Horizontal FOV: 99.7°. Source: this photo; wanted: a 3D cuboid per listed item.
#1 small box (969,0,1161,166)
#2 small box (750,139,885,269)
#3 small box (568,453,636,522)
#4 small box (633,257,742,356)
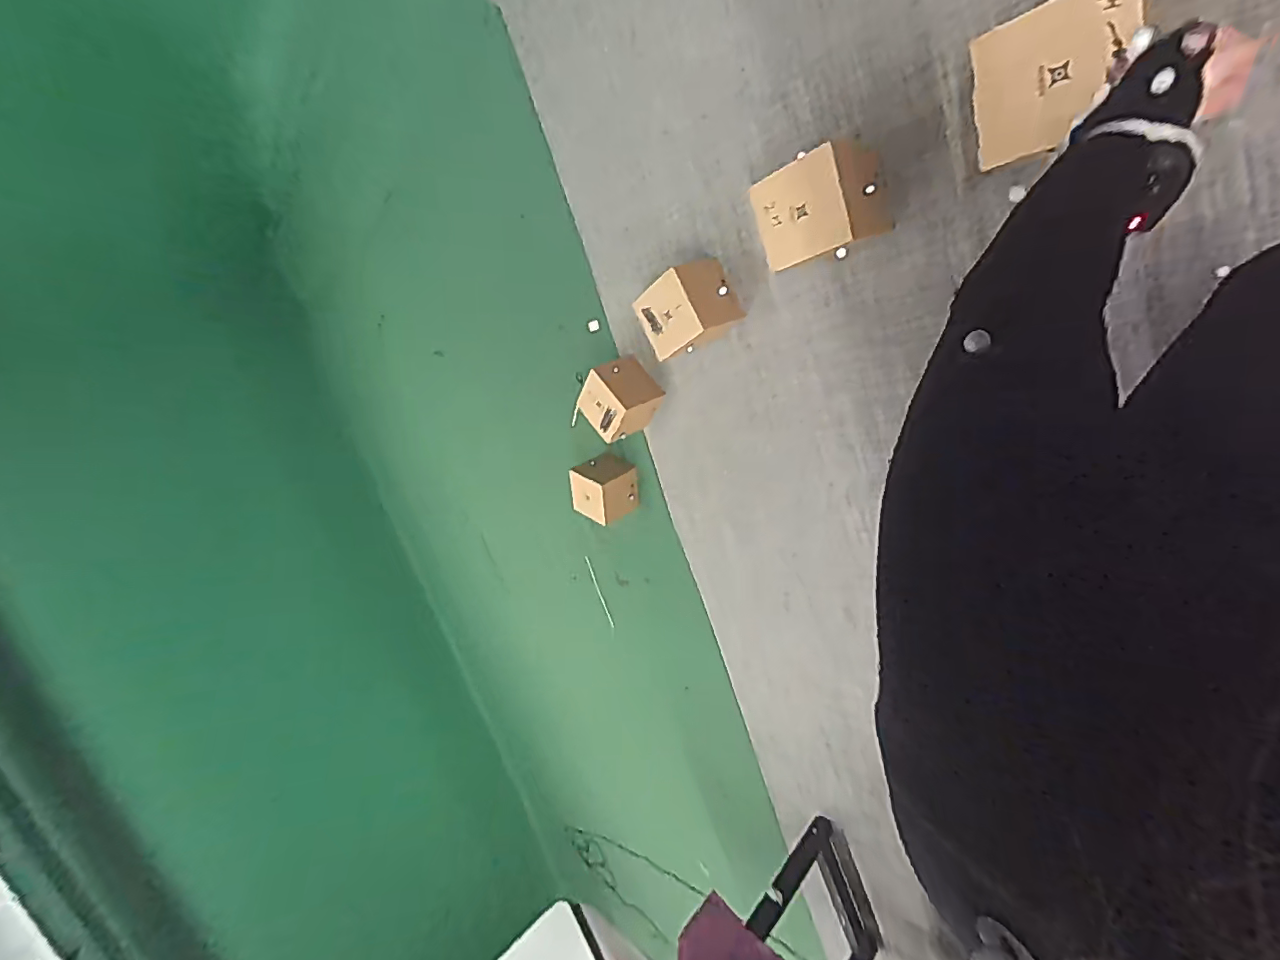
[{"bbox_3d":[0.582,-0.550,0.742,0.179,0.176,0.168,4,115,48],"label":"small box"},{"bbox_3d":[0.345,-0.523,1.031,0.179,0.176,0.168,-4,108,50],"label":"small box"},{"bbox_3d":[-0.133,0.018,1.914,0.179,0.176,0.168,25,130,38],"label":"small box"},{"bbox_3d":[0.119,-0.431,1.346,0.179,0.176,0.168,-23,94,52],"label":"small box"}]
